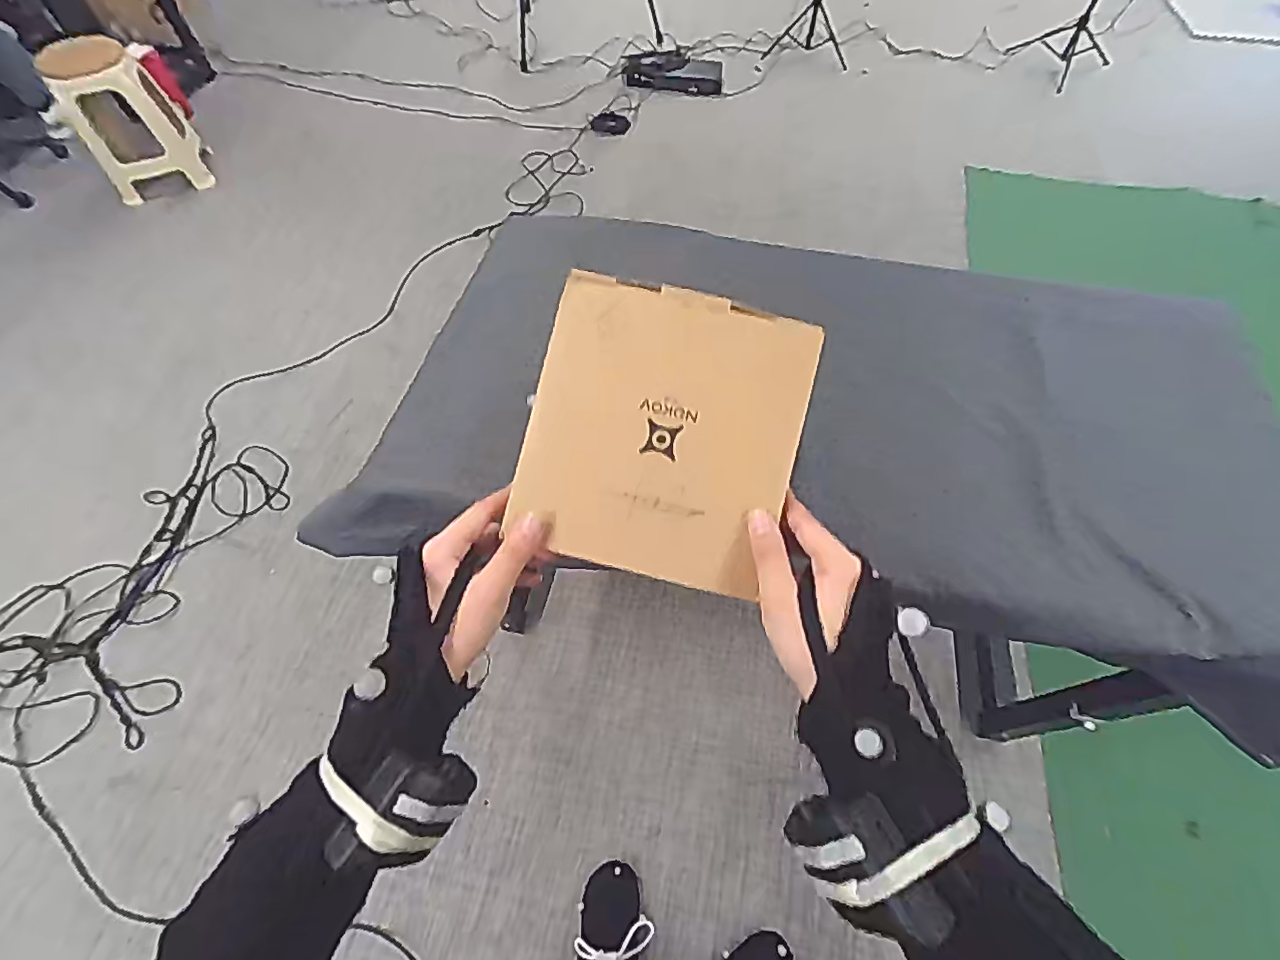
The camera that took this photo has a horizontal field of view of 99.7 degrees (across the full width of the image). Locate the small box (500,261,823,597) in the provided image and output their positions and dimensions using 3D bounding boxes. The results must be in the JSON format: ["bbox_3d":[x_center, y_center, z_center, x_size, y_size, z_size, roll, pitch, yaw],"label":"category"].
[{"bbox_3d":[0.015,-0.030,0.407,0.168,0.176,0.179,14,88,2],"label":"small box"}]
